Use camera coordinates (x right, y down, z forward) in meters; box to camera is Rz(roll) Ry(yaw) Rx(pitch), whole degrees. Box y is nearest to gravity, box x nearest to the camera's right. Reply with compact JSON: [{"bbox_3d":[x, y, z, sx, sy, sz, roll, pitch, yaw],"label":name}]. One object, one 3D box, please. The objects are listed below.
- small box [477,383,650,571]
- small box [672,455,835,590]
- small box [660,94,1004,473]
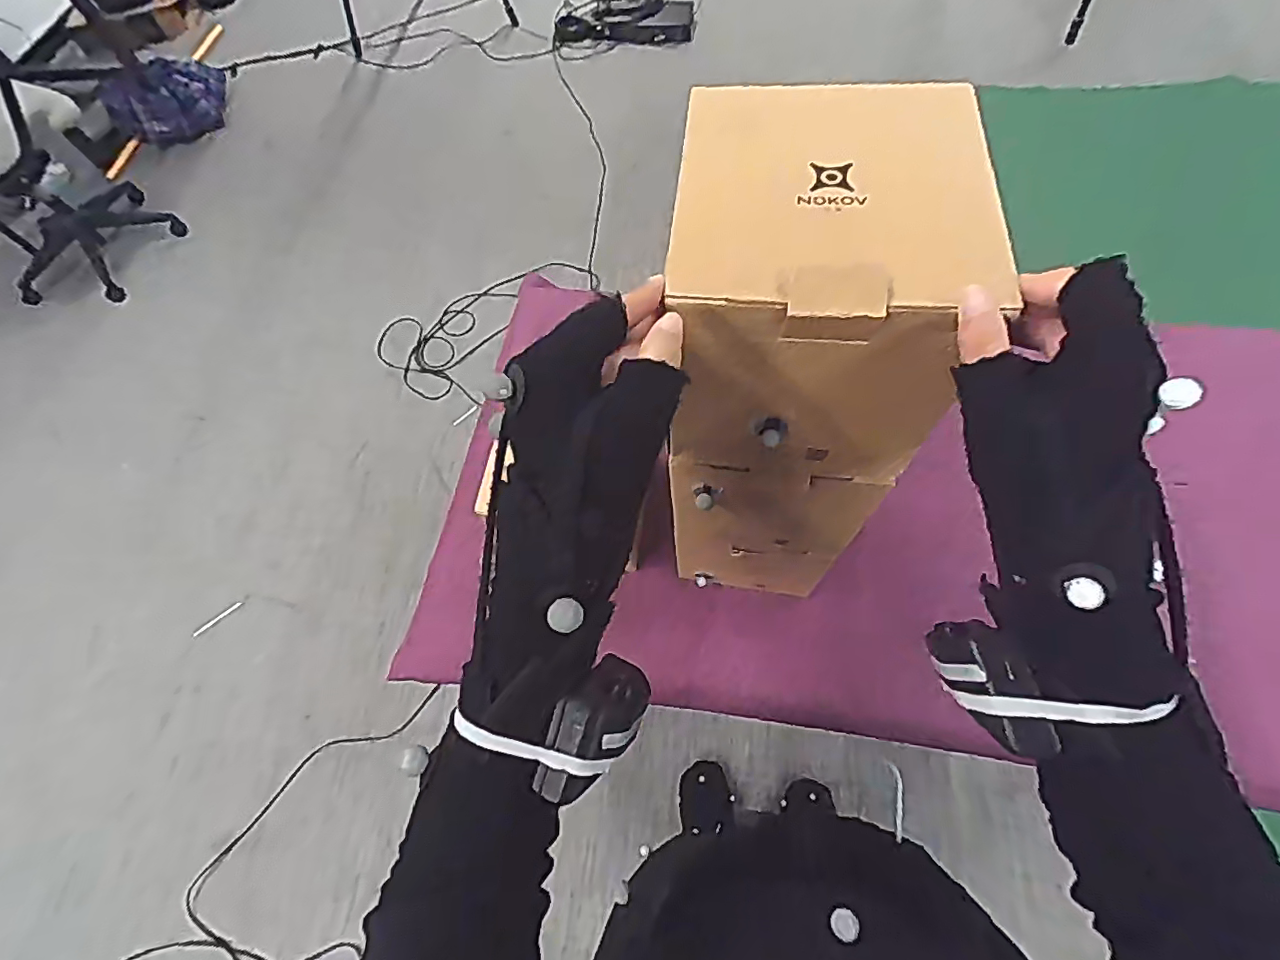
[{"bbox_3d":[-0.081,0.001,0.690,0.168,0.176,0.179,6,65,9],"label":"small box"},{"bbox_3d":[0.136,0.024,0.659,0.168,0.176,0.179,7,65,9],"label":"small box"},{"bbox_3d":[0.106,-0.124,0.368,0.168,0.176,0.179,4,65,7],"label":"small box"}]
